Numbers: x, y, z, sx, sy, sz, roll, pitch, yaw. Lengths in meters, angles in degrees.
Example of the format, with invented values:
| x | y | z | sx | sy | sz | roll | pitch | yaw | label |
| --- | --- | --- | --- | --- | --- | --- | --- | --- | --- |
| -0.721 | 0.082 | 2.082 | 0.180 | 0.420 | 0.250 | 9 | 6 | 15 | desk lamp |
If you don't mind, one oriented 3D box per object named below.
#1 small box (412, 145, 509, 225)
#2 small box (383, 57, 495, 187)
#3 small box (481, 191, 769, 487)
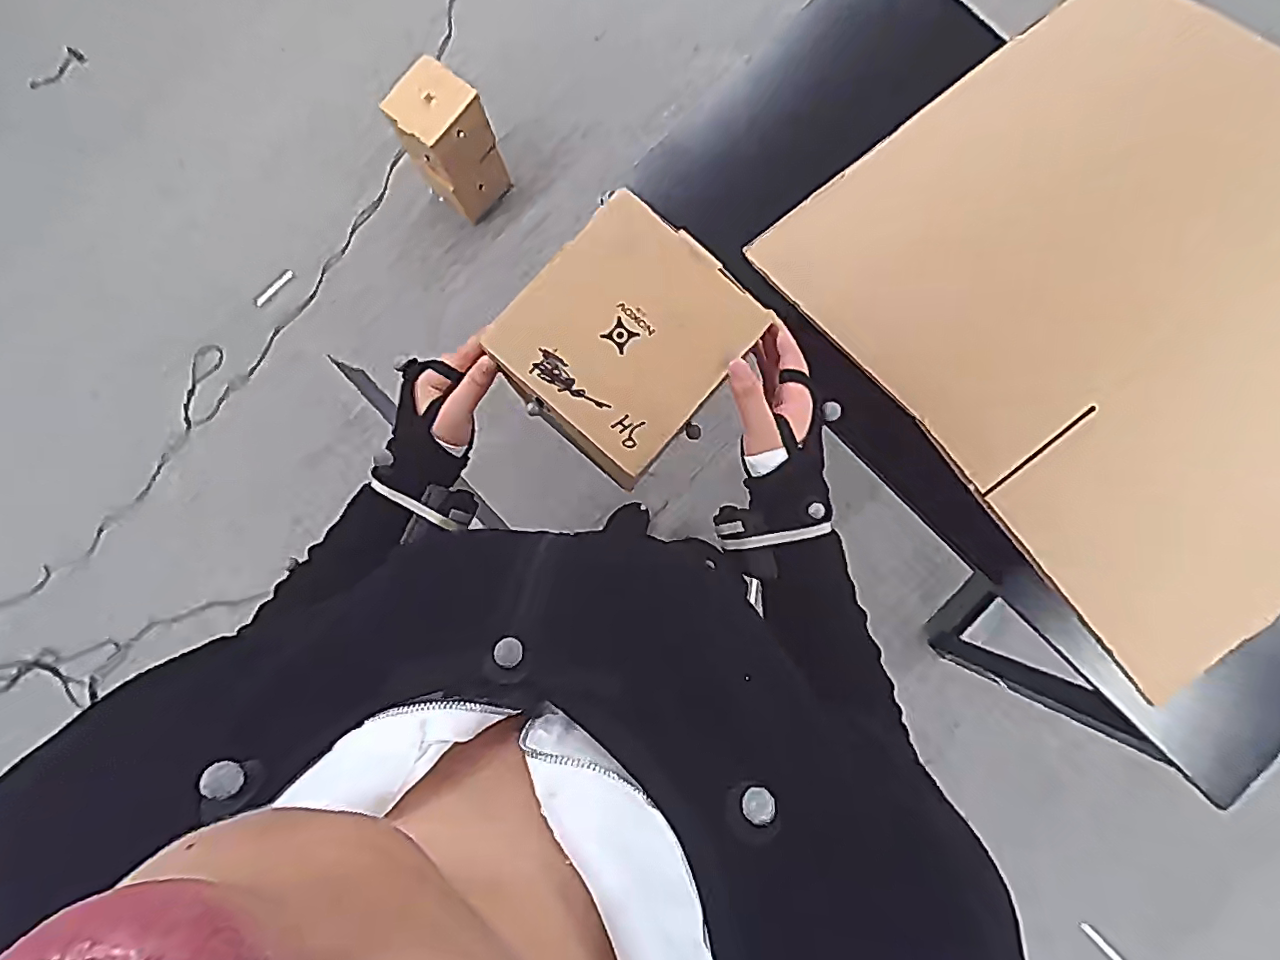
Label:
| x | y | z | sx | sy | sz | roll | pitch | yaw | label |
| --- | --- | --- | --- | --- | --- | --- | --- | --- | --- |
| -0.490 | -0.865 | 1.515 | 0.168 | 0.176 | 0.179 | 42 | 88 | 4 | small box |
| -0.492 | -0.883 | 1.353 | 0.168 | 0.176 | 0.179 | 39 | 86 | 3 | small box |
| -0.015 | -0.112 | 0.507 | 0.168 | 0.176 | 0.179 | 41 | 84 | 2 | small box |
